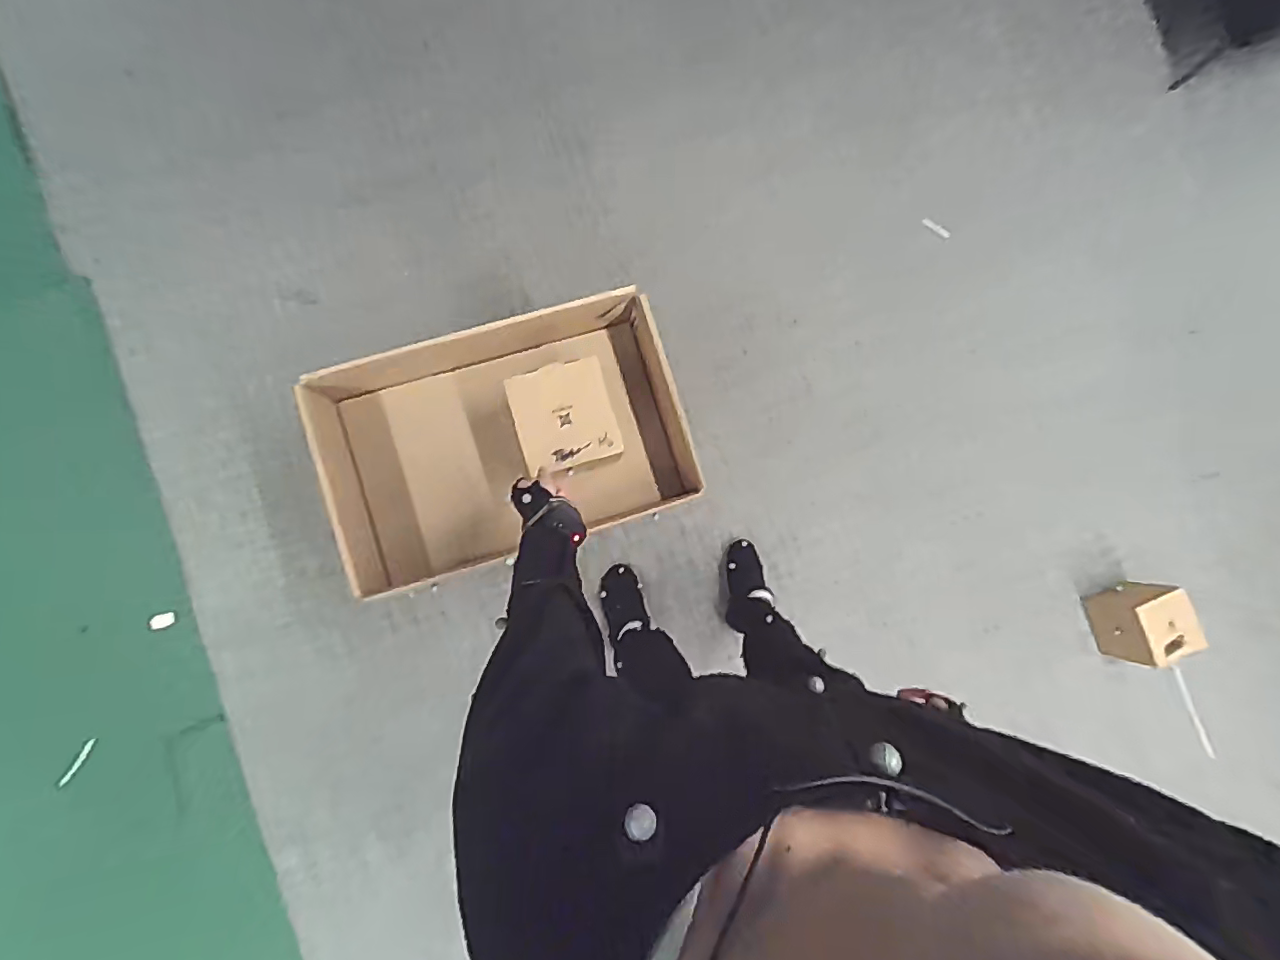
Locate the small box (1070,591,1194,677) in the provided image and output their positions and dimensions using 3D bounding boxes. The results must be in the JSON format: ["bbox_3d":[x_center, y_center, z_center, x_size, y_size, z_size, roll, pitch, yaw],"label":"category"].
[{"bbox_3d":[1.394,0.430,1.542,0.168,0.176,0.179,-20,86,-10],"label":"small box"}]

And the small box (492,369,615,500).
[{"bbox_3d":[-0.151,-0.074,0.959,0.168,0.176,0.179,-16,86,-7],"label":"small box"}]
